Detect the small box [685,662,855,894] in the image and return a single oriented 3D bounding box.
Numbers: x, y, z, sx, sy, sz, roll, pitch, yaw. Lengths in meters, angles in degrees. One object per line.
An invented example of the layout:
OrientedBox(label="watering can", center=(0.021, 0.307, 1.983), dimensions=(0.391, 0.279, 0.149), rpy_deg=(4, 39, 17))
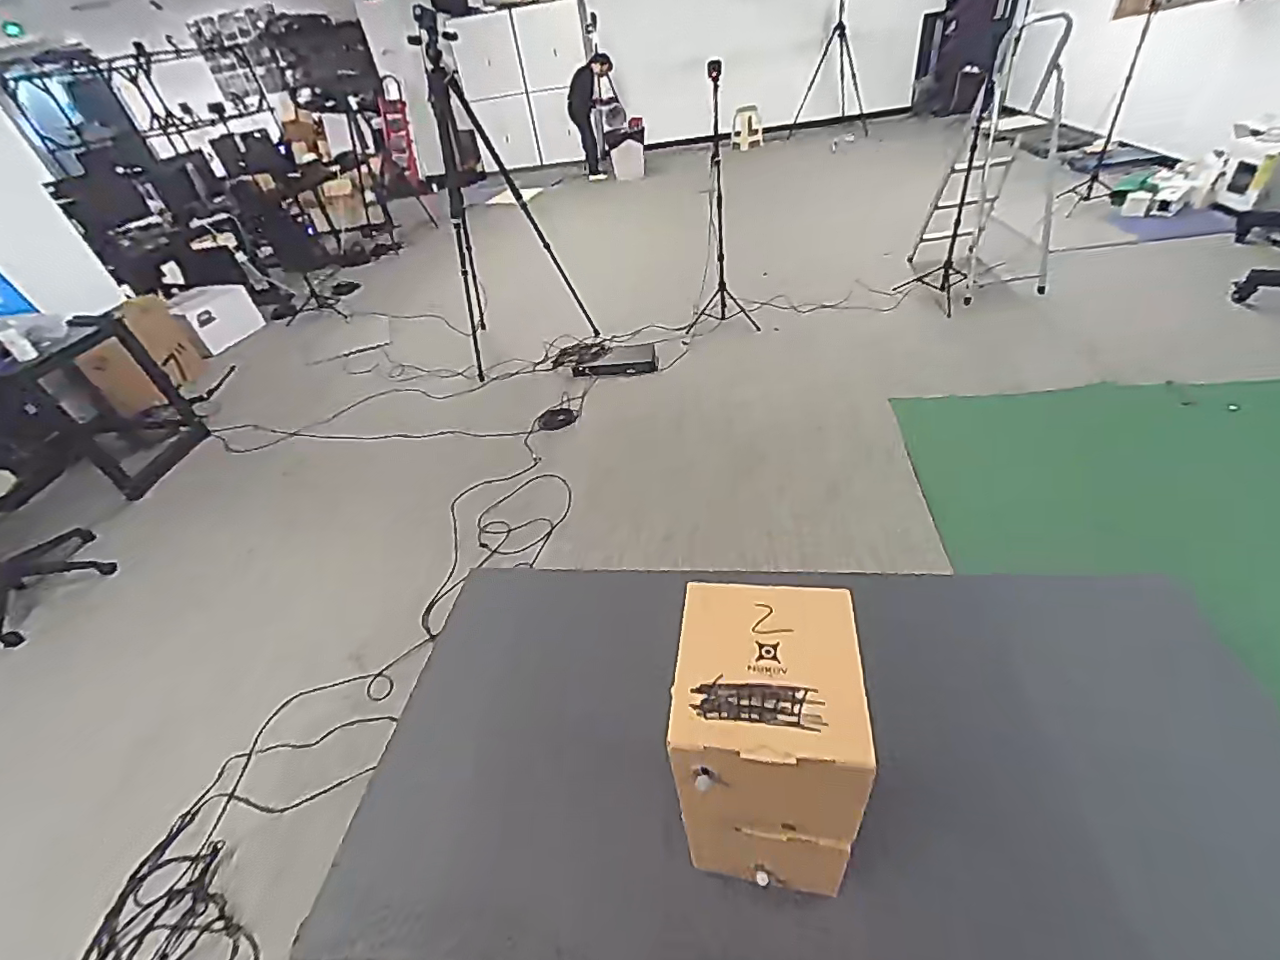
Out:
OrientedBox(label="small box", center=(0.151, 0.345, 0.636), dimensions=(0.168, 0.176, 0.179), rpy_deg=(1, 40, 15))
